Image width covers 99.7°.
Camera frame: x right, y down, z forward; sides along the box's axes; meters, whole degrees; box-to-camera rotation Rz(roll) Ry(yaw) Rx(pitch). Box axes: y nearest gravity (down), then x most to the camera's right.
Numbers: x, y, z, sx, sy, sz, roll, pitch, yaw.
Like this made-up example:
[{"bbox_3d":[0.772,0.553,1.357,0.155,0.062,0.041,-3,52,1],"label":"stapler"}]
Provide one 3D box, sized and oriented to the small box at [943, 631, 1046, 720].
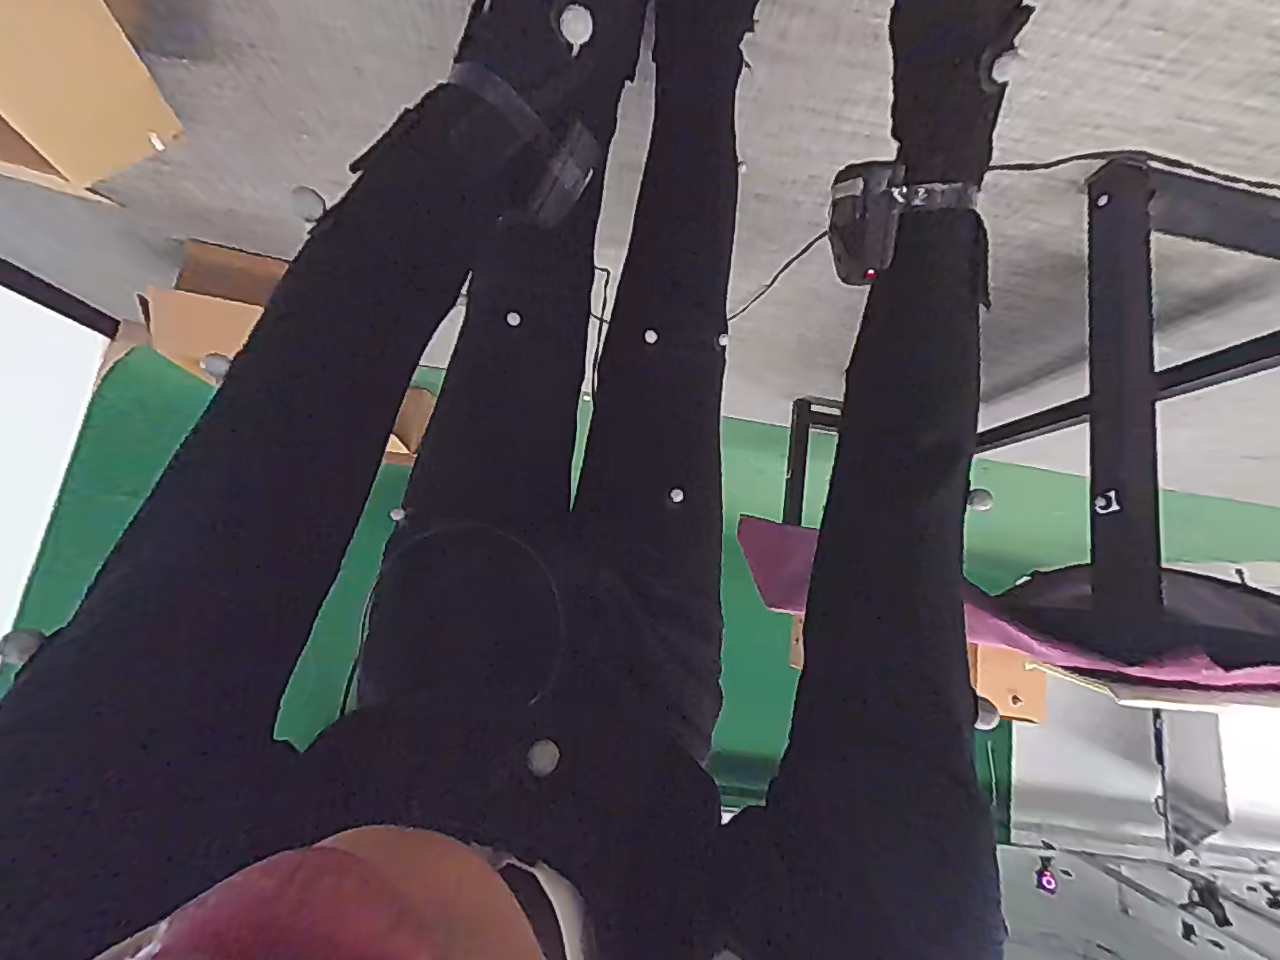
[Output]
[{"bbox_3d":[0.845,0.469,1.319,0.179,0.176,0.168,9,169,-5],"label":"small box"}]
